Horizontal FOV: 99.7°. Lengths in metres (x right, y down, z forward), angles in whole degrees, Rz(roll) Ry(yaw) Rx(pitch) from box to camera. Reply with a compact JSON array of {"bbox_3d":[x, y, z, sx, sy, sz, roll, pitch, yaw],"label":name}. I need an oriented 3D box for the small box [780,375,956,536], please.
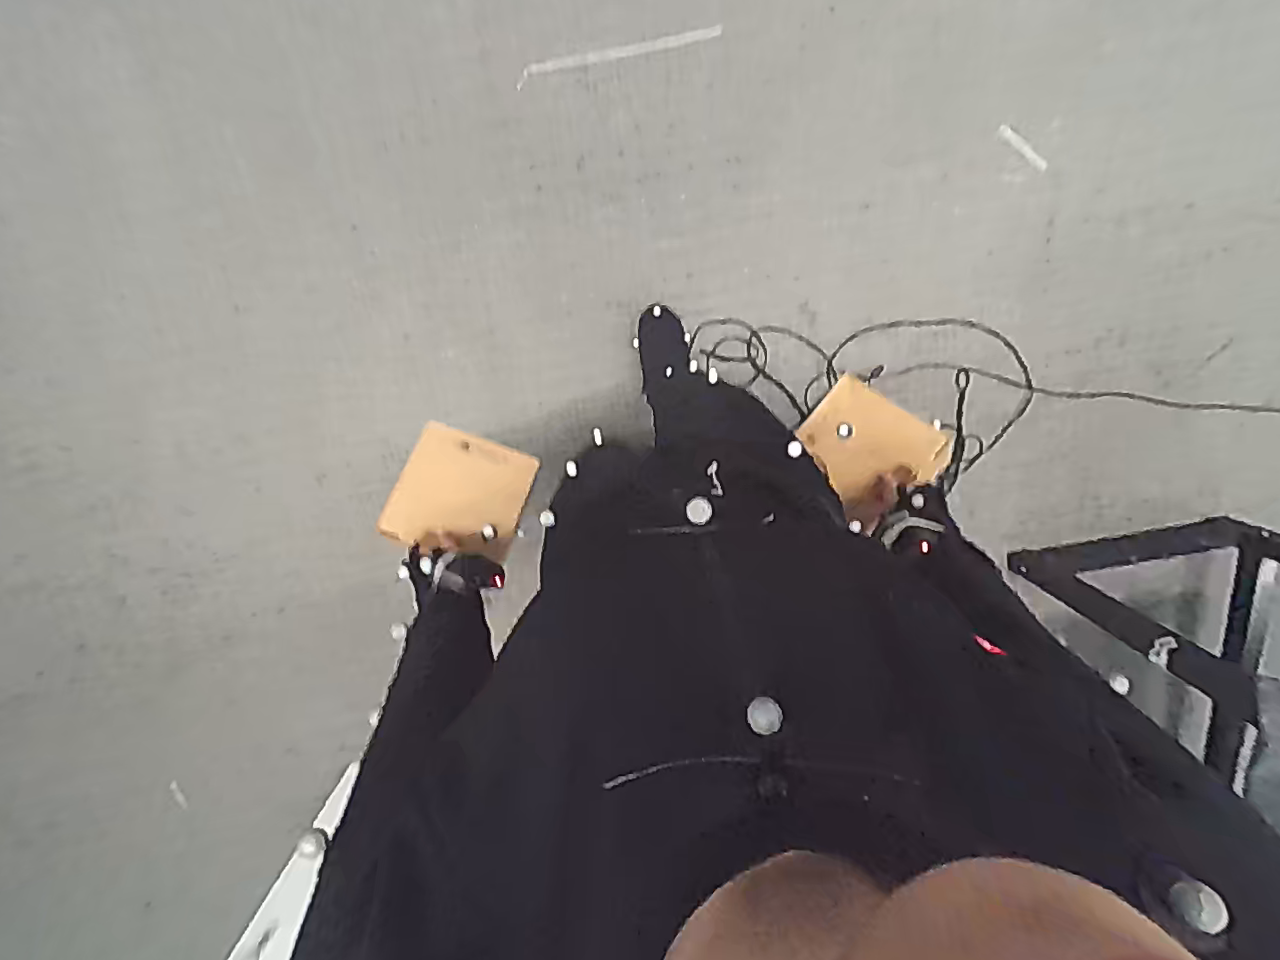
[{"bbox_3d":[0.342,-0.034,0.817,0.176,0.179,0.168,43,104,28],"label":"small box"}]
